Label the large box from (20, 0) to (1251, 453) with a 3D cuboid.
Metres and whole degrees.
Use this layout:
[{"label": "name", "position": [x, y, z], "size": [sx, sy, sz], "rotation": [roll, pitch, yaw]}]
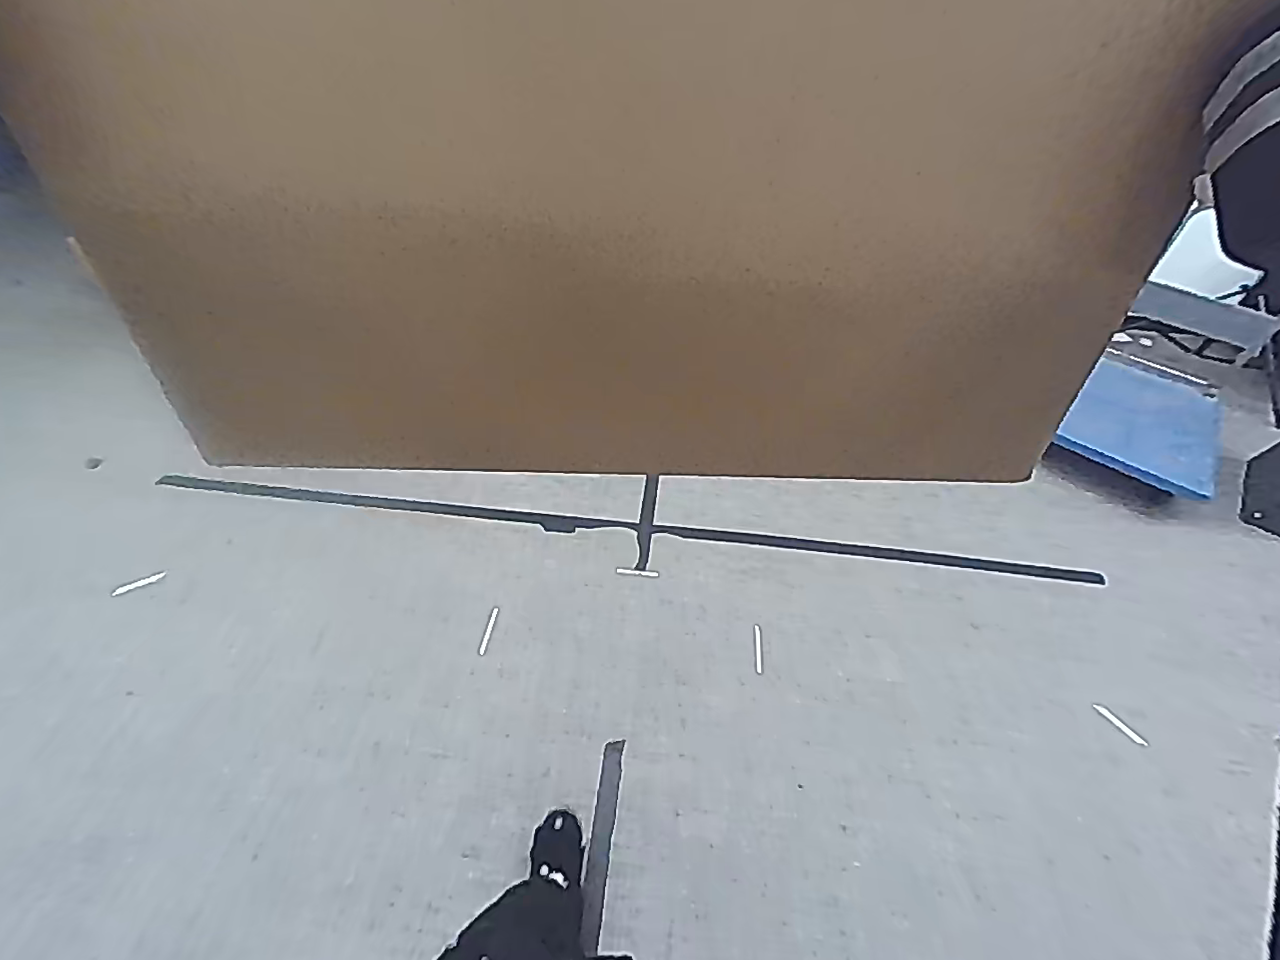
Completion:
[{"label": "large box", "position": [-0.002, -0.226, 0.301], "size": [0.408, 0.320, 0.320], "rotation": [2, 39, -2]}]
